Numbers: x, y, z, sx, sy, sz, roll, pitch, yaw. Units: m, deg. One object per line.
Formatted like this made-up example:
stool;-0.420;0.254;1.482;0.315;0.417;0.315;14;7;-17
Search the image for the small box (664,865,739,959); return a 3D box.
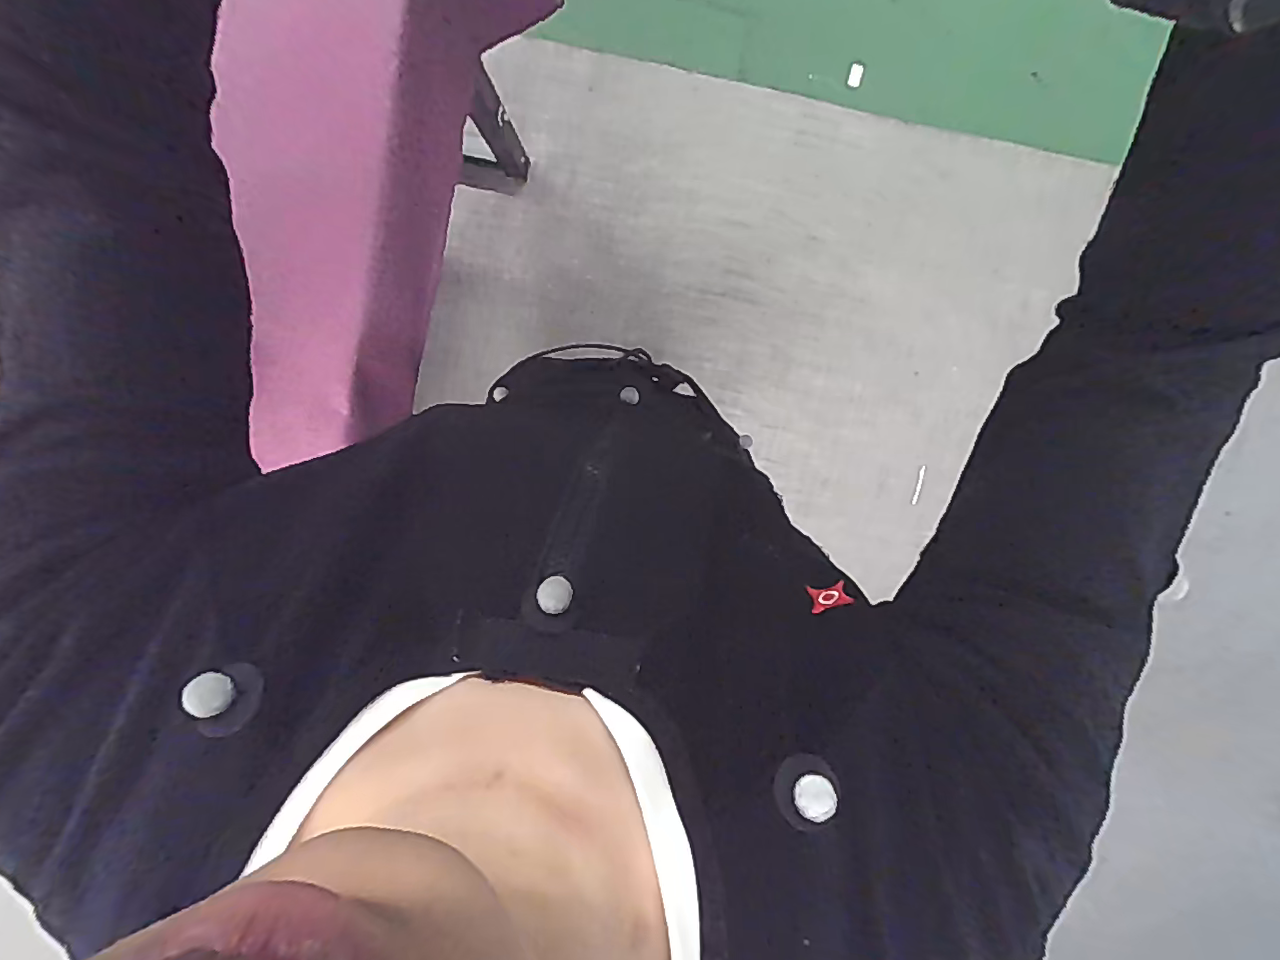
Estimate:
small box;0.172;1.270;1.578;0.179;0.176;0.168;10;98;-1
